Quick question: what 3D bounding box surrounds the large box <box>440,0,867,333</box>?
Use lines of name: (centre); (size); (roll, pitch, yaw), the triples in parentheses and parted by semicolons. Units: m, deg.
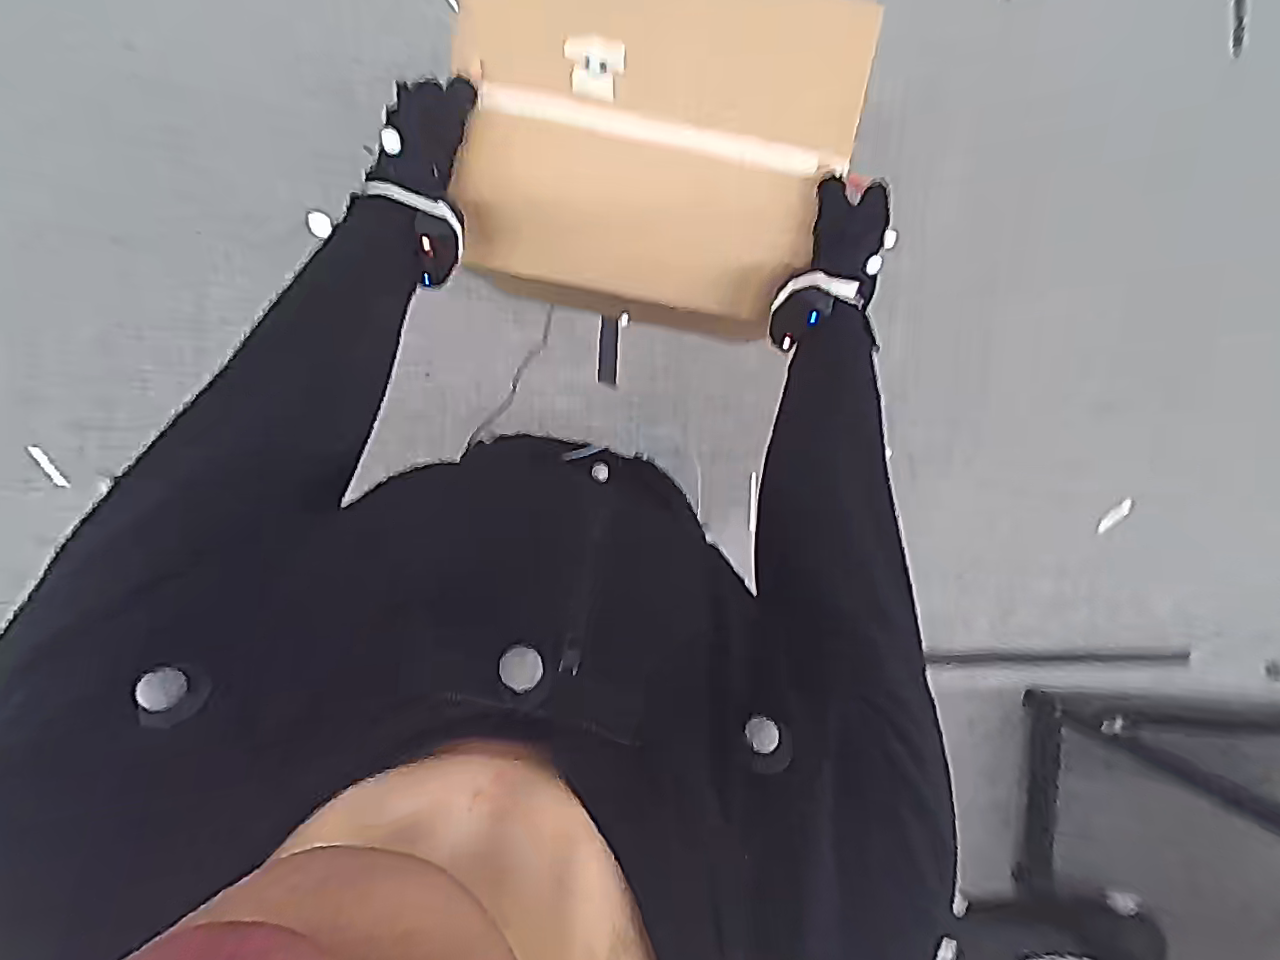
large box: (0.006, -0.383, 0.698); (0.408, 0.320, 0.320); (10, 100, -3)
